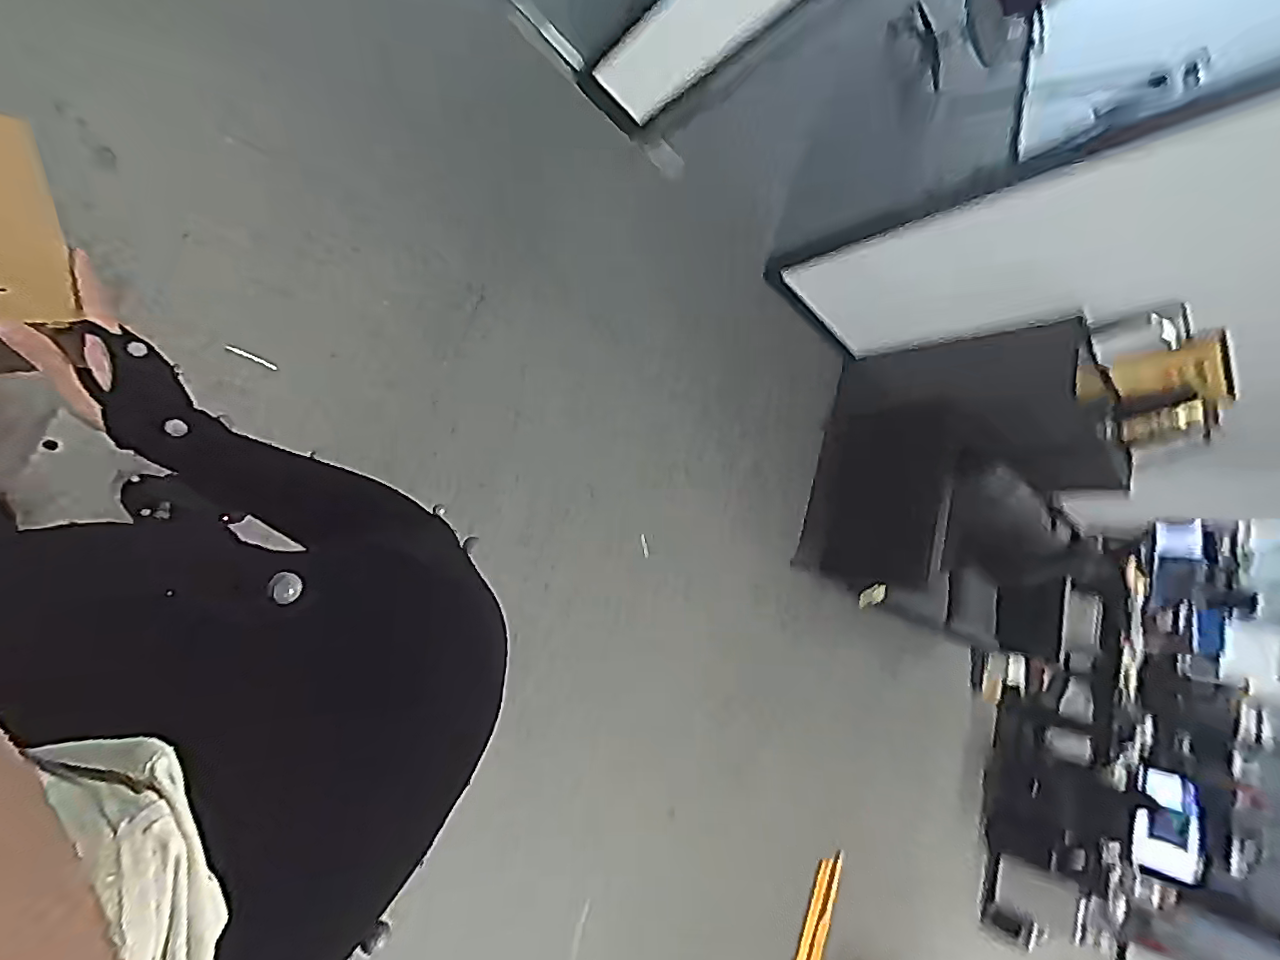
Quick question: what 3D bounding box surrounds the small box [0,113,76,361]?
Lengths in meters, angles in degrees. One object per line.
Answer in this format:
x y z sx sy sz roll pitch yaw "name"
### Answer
-0.620 -0.198 0.459 0.168 0.176 0.179 -20 99 -45 "small box"
